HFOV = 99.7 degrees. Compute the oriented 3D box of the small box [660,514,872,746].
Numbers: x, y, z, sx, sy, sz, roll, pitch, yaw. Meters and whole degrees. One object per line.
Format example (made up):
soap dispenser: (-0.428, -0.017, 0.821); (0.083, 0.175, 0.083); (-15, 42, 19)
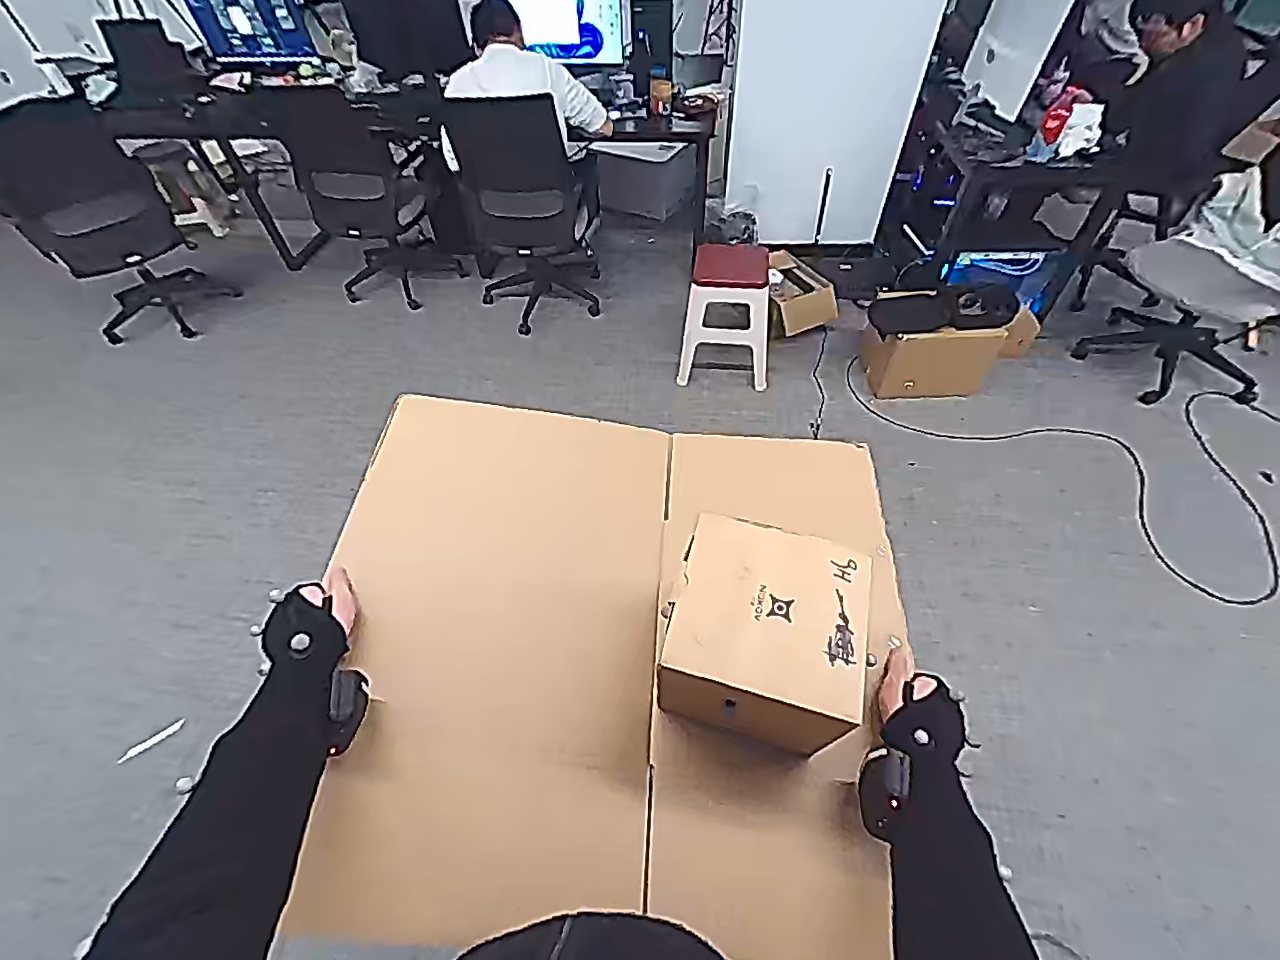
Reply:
small box: (0.127, 0.163, 0.573); (0.179, 0.176, 0.168); (13, 57, 12)
